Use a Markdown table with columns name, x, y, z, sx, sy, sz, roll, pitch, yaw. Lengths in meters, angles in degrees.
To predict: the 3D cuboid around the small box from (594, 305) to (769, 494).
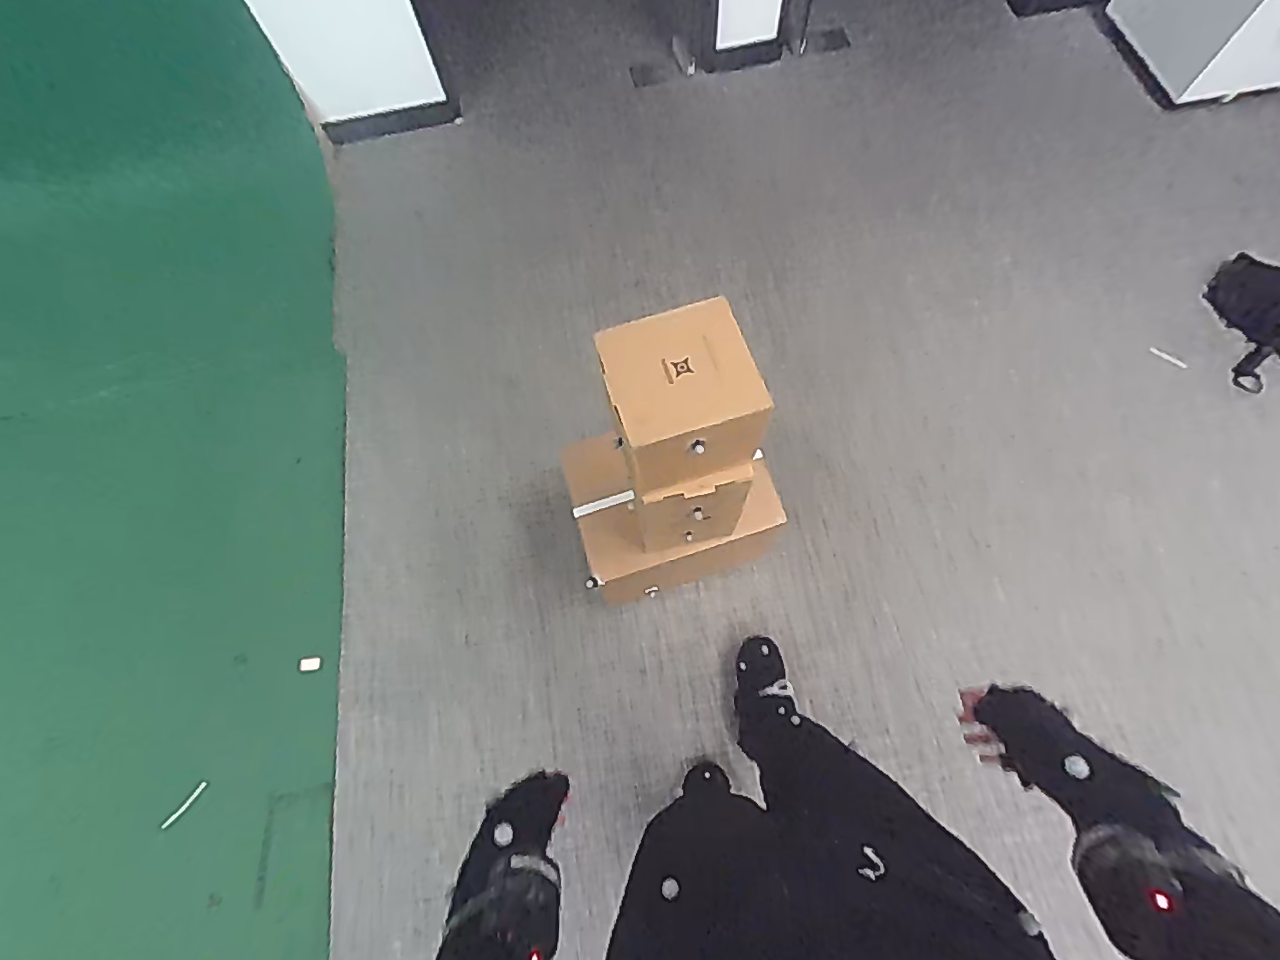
| name | x | y | z | sx | sy | sz | roll | pitch | yaw |
| --- | --- | --- | --- | --- | --- | --- | --- | --- | --- |
| small box | 0.051 | -0.097 | 0.728 | 0.179 | 0.176 | 0.168 | -17 | 70 | -4 |

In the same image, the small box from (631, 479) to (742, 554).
| name | x | y | z | sx | sy | sz | roll | pitch | yaw |
| --- | --- | --- | --- | --- | --- | --- | --- | --- | --- |
| small box | 0.079 | 0.031 | 1.026 | 0.179 | 0.176 | 0.168 | -12 | 69 | -1 |

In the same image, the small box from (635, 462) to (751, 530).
| name | x | y | z | sx | sy | sz | roll | pitch | yaw |
| --- | --- | --- | --- | --- | --- | --- | --- | --- | --- |
| small box | 0.070 | -0.028 | 0.874 | 0.168 | 0.176 | 0.179 | -12 | 69 | -2 |
